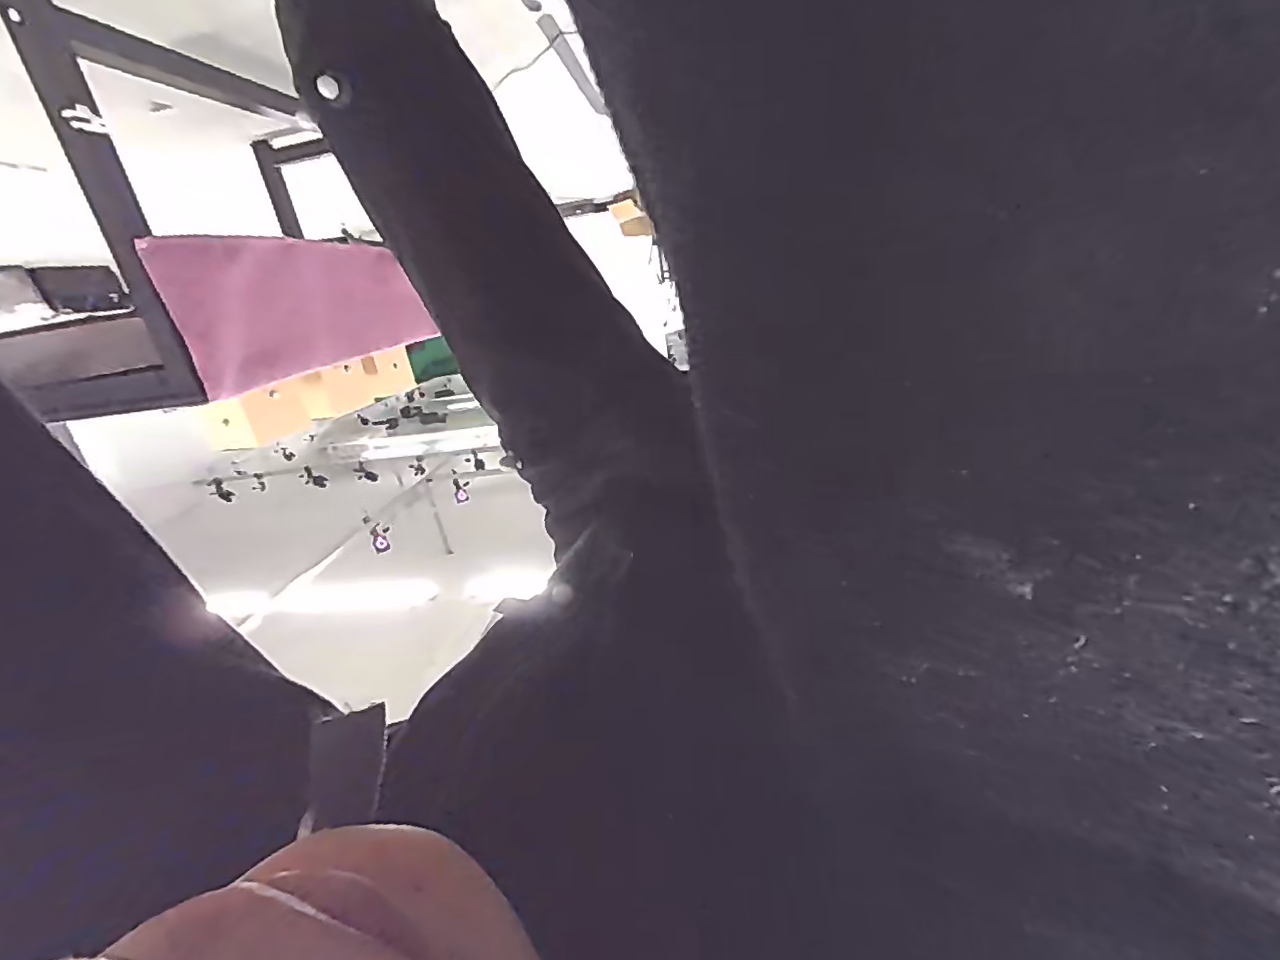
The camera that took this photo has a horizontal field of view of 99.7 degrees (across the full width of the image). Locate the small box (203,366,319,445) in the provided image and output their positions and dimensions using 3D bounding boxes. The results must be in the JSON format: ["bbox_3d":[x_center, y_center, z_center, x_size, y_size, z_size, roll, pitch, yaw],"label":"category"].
[{"bbox_3d":[-1.007,-0.201,1.433,0.179,0.176,0.168,-1,-157,22],"label":"small box"}]

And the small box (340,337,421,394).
[{"bbox_3d":[-0.914,-0.404,1.903,0.179,0.176,0.168,-2,-158,18],"label":"small box"}]

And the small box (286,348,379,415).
[{"bbox_3d":[-0.955,-0.307,1.673,0.179,0.176,0.168,-1,-156,19],"label":"small box"}]
